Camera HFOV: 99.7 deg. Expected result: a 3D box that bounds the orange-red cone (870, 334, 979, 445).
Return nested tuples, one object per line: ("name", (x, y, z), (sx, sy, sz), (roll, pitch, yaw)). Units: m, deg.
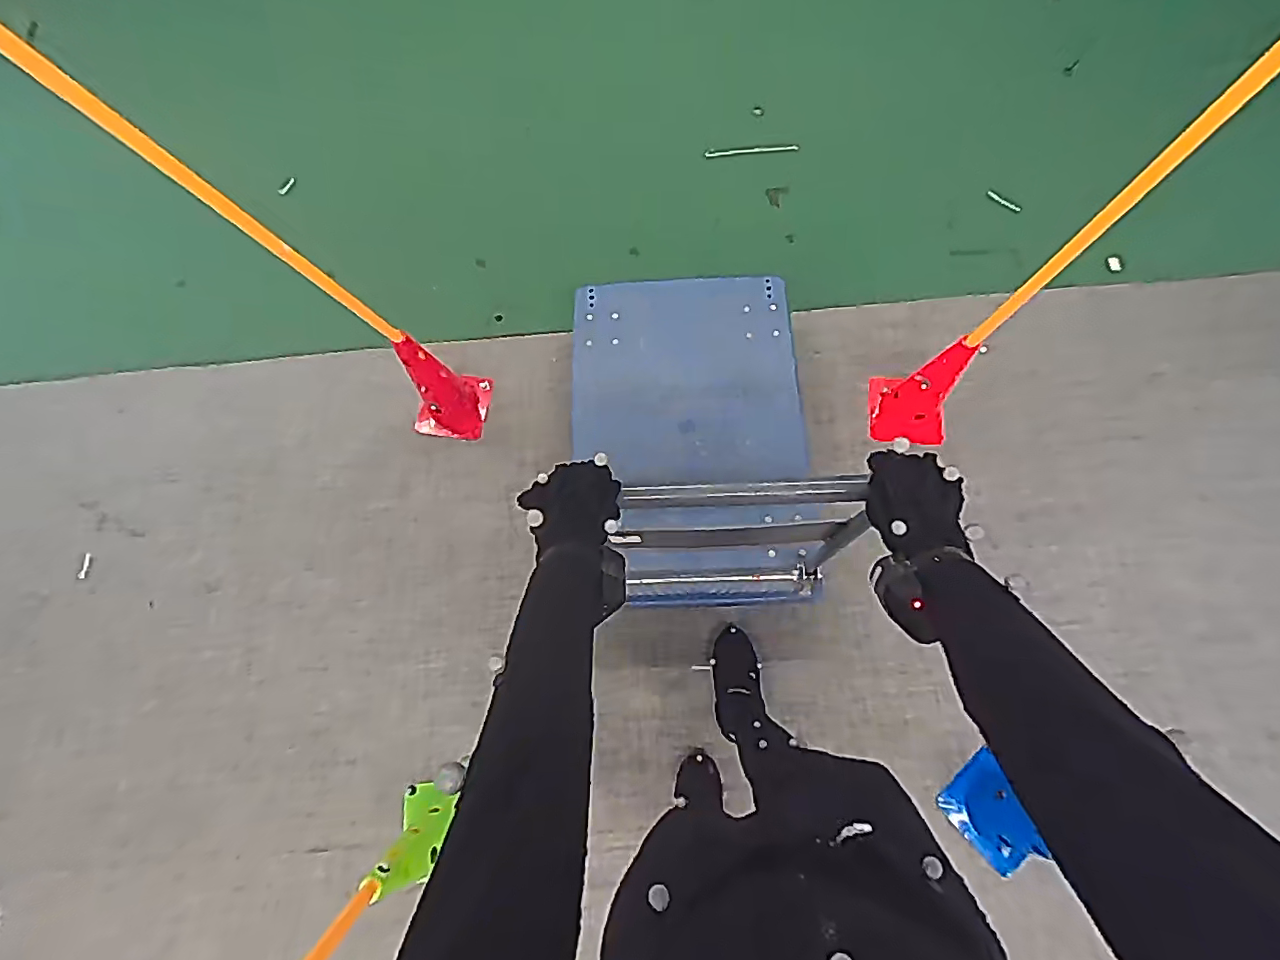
("orange-red cone", (0.738, -0.248, 1.354), (0.198, 0.360, 0.199), (6, 73, 5))
